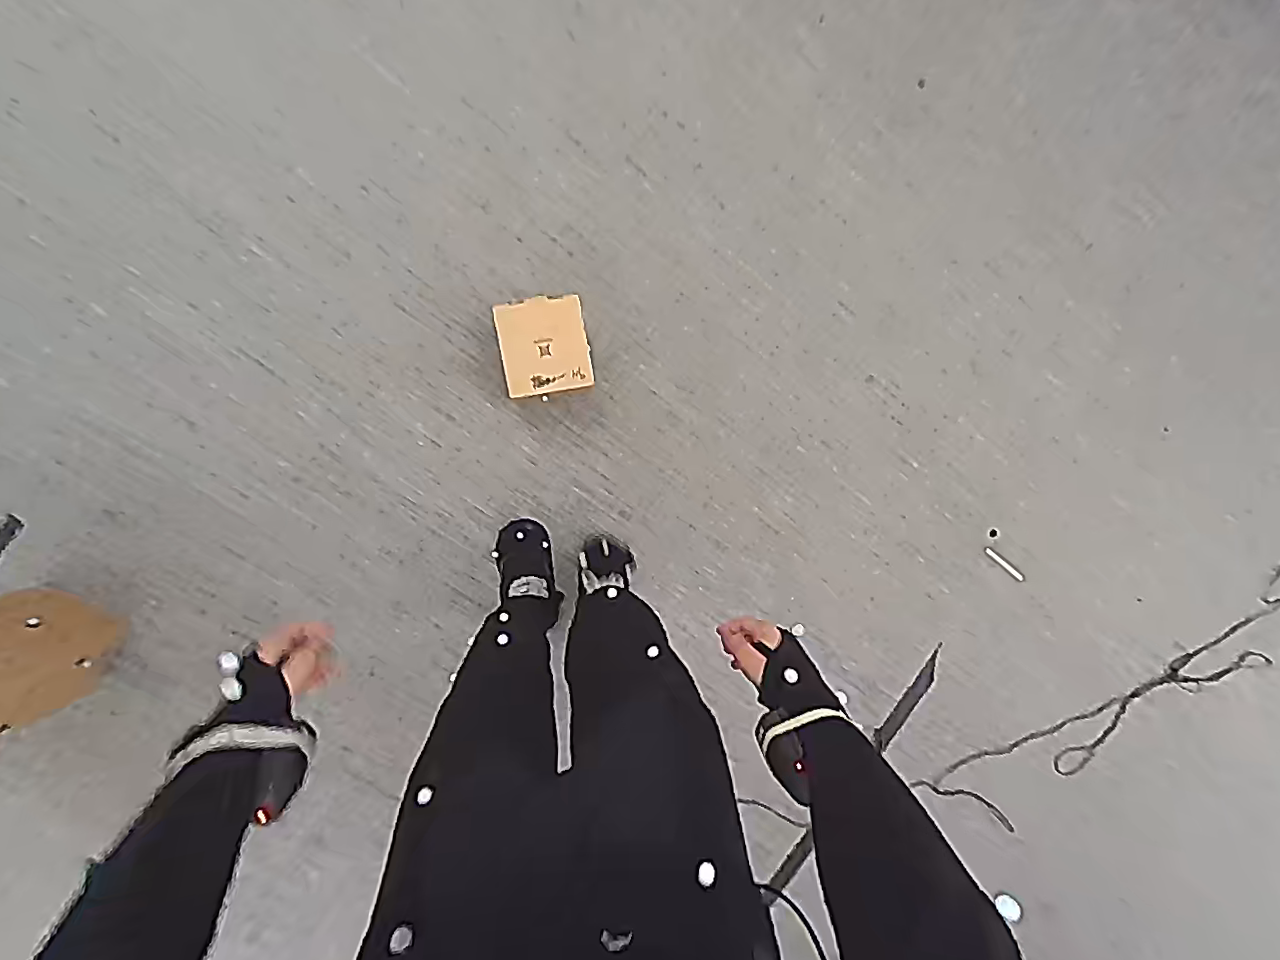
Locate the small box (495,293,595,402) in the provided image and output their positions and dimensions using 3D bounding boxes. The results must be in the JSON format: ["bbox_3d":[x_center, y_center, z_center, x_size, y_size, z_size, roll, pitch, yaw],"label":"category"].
[{"bbox_3d":[-0.192,-0.262,1.098,0.168,0.176,0.179,-11,96,-9],"label":"small box"}]

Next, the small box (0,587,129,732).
[{"bbox_3d":[-1.124,0.320,1.000,0.179,0.176,0.168,31,89,-9],"label":"small box"}]
